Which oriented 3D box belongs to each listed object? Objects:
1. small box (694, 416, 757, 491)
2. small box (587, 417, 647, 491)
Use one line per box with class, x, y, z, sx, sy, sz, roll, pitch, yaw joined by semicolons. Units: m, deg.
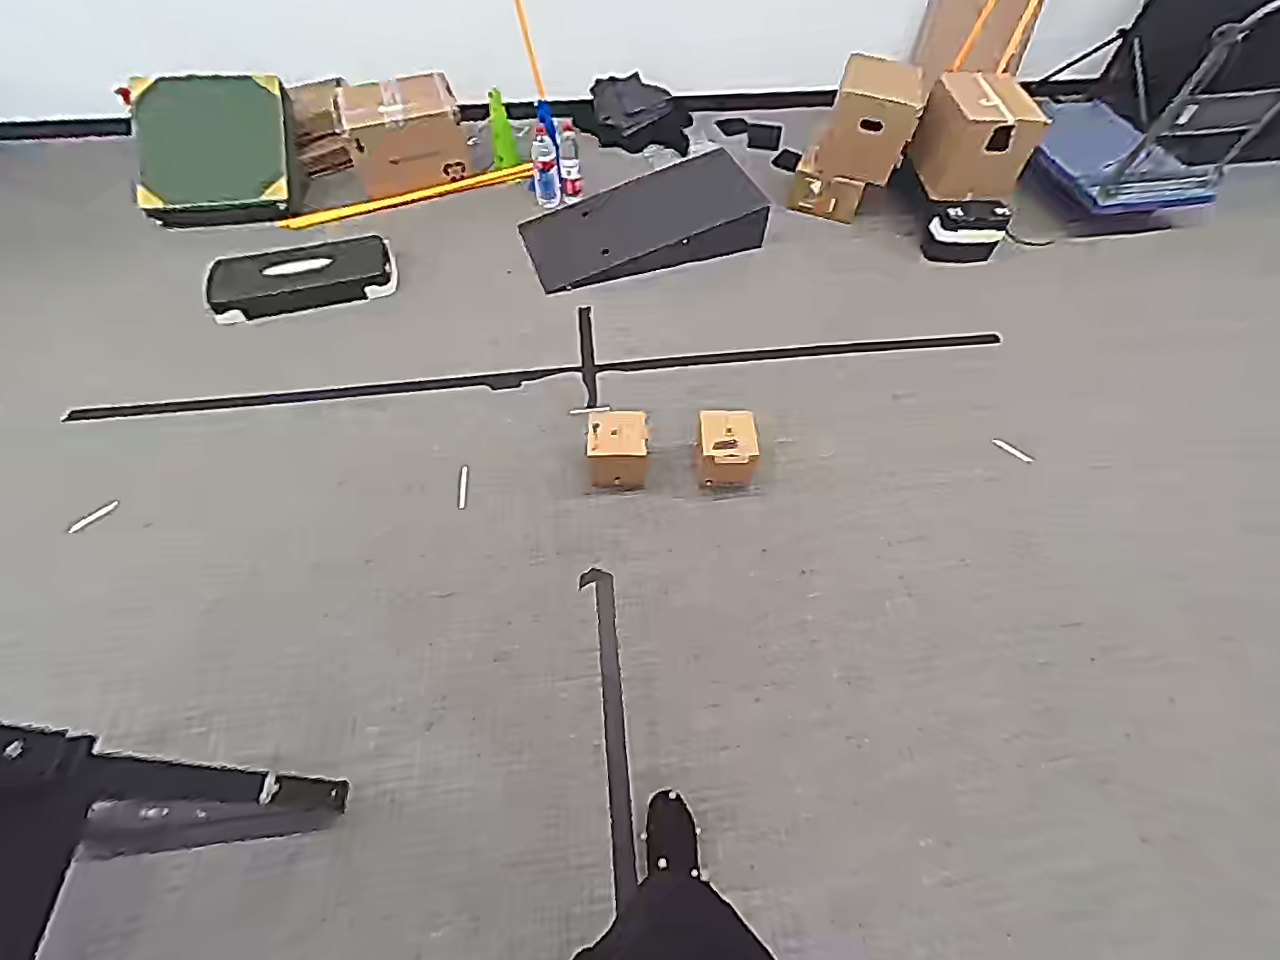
small box;0.260;-0.079;1.686;0.168;0.176;0.179;1;56;-2
small box;-0.072;-0.077;1.674;0.179;0.176;0.168;1;57;-2
